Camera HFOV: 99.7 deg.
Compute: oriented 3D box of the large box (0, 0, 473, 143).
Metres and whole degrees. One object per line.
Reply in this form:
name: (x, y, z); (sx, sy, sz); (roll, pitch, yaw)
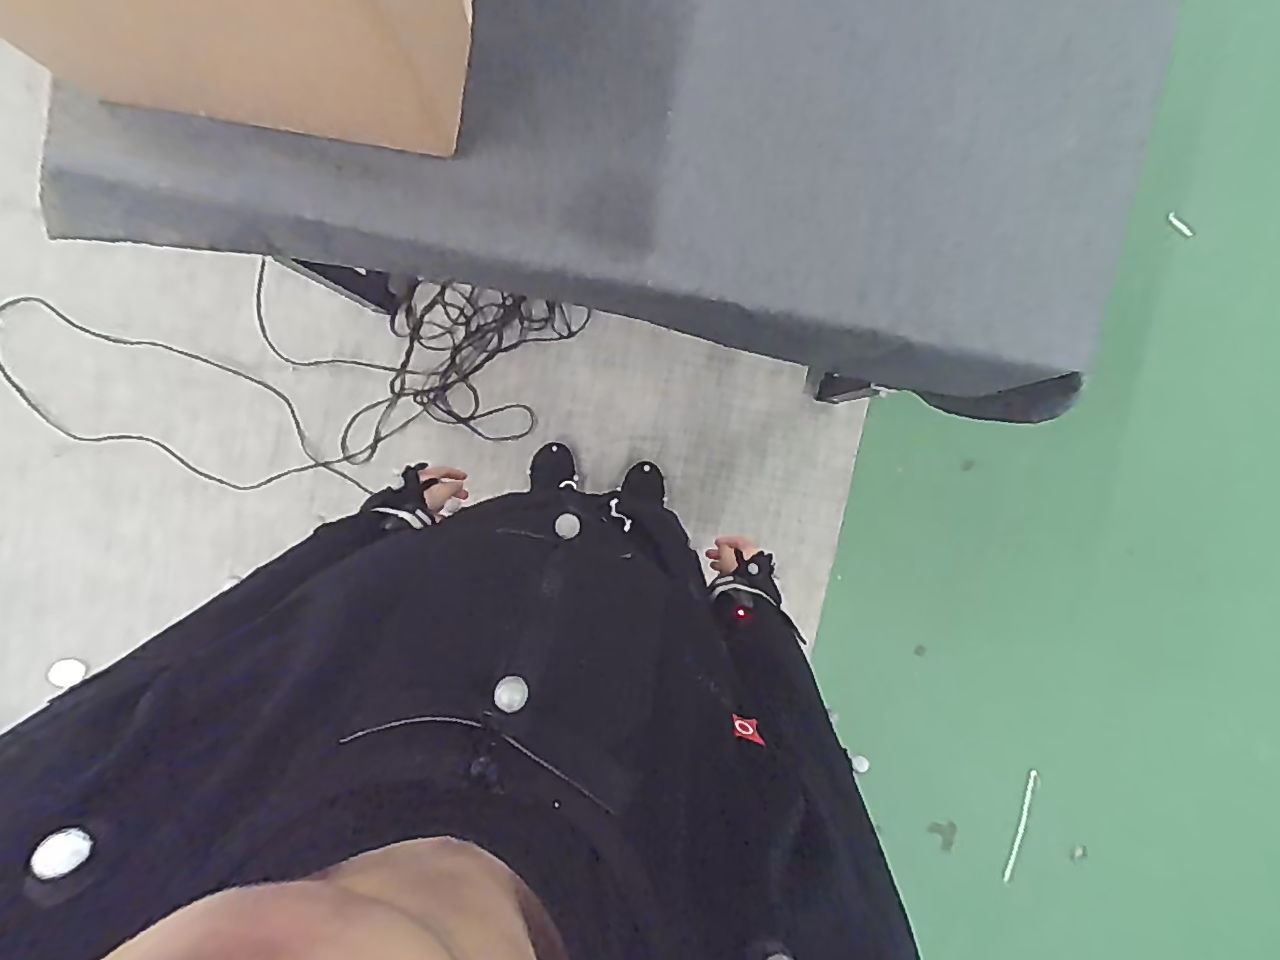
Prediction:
large box: (-0.373, -0.537, 0.439); (0.408, 0.320, 0.320); (7, 94, -4)
